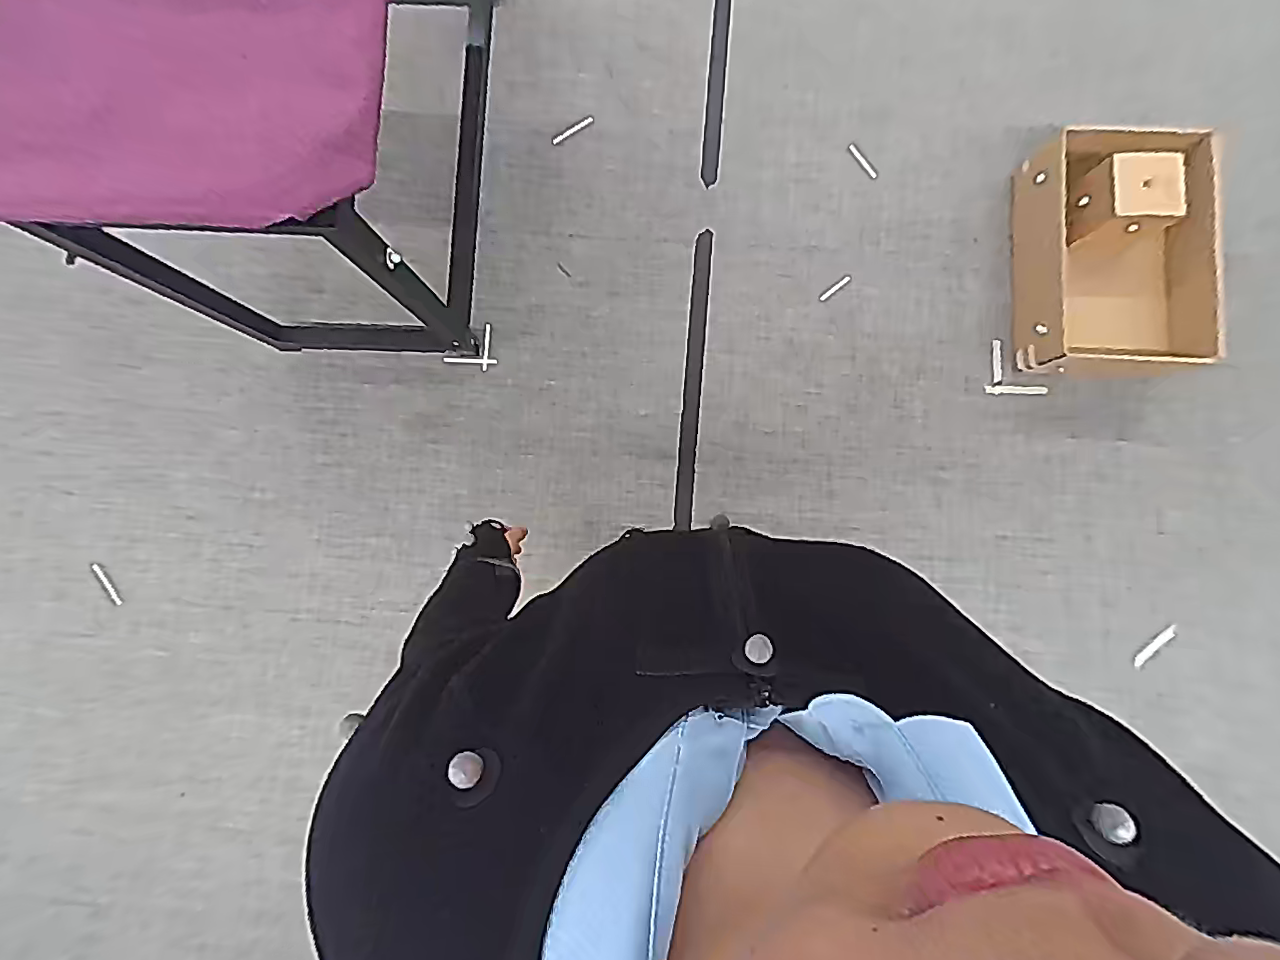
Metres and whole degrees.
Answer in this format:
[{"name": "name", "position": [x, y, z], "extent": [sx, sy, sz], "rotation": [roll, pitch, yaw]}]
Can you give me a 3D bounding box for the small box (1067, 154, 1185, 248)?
[{"name": "small box", "position": [1.278, -0.734, 1.436], "extent": [0.179, 0.176, 0.168], "rotation": [1, 87, 1]}]
